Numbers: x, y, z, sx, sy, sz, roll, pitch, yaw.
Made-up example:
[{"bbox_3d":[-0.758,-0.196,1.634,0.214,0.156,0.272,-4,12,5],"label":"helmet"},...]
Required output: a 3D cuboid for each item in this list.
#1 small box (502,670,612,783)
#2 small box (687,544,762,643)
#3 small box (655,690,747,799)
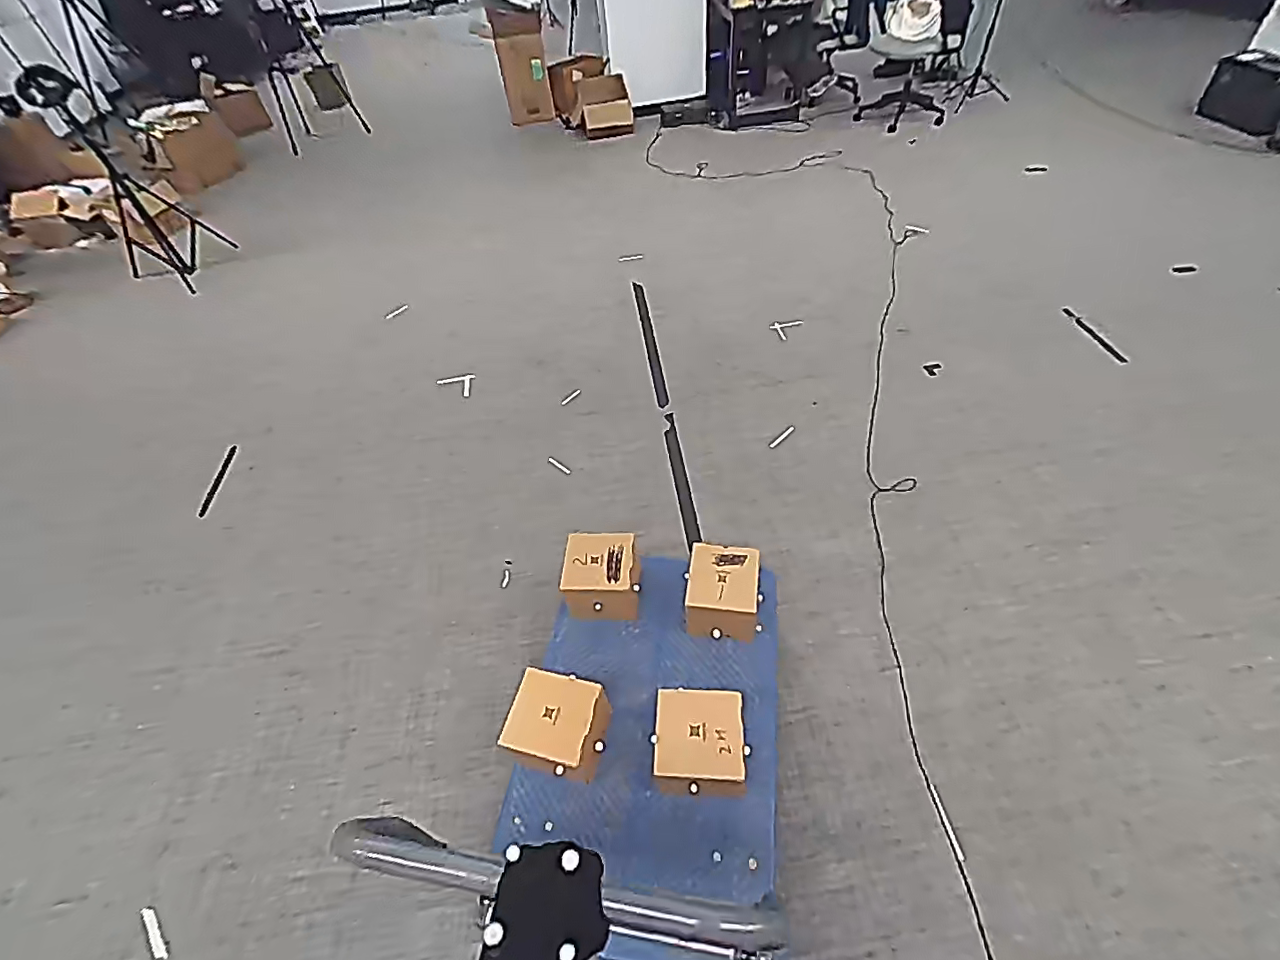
[{"bbox_3d":[-0.172,0.543,1.184,0.179,0.176,0.168,8,51,13],"label":"small box"},{"bbox_3d":[0.211,0.284,1.352,0.168,0.176,0.179,4,51,11],"label":"small box"},{"bbox_3d":[0.130,0.555,1.131,0.179,0.176,0.168,-1,50,7],"label":"small box"}]
